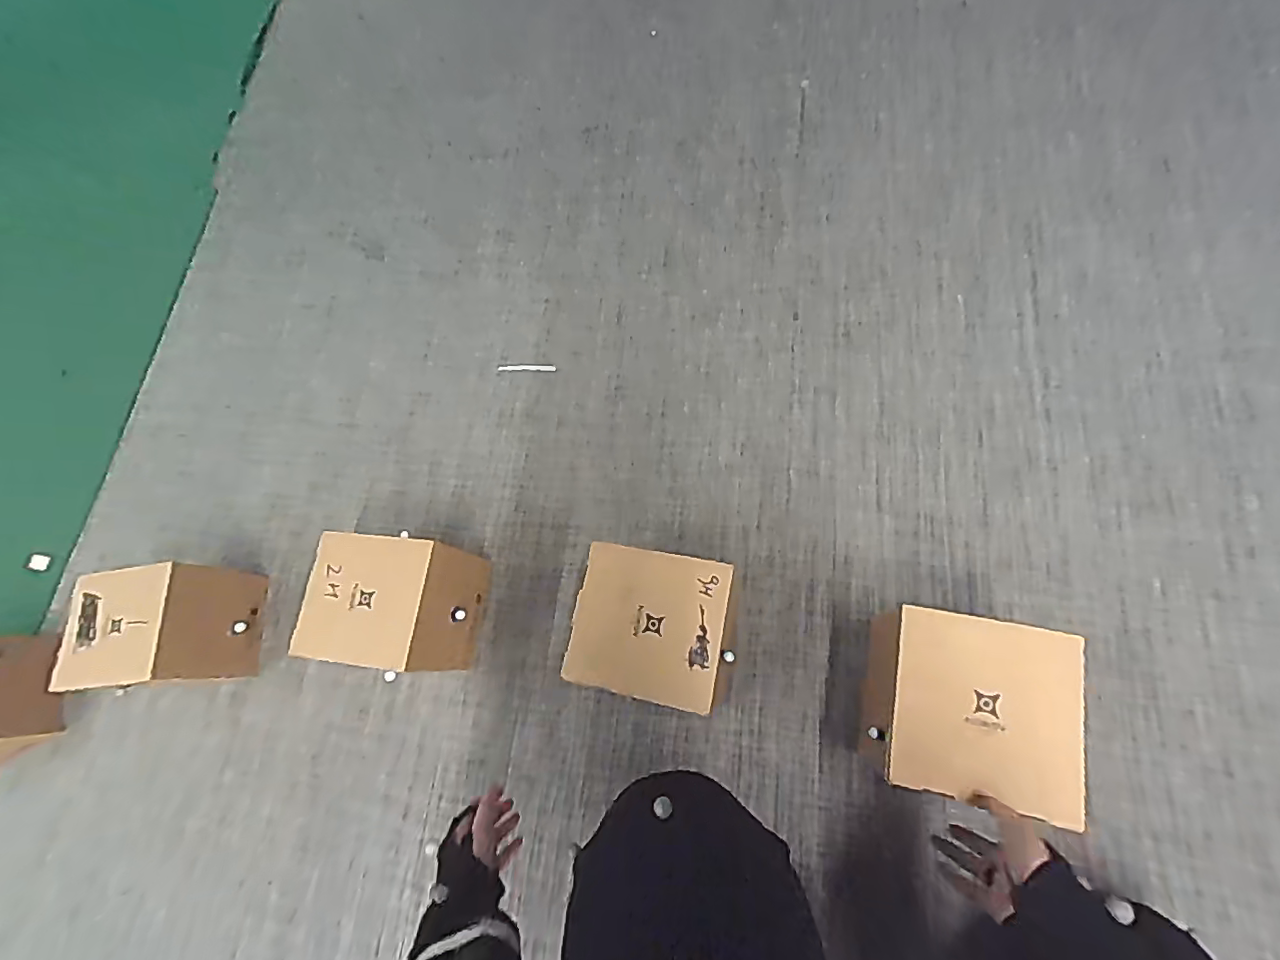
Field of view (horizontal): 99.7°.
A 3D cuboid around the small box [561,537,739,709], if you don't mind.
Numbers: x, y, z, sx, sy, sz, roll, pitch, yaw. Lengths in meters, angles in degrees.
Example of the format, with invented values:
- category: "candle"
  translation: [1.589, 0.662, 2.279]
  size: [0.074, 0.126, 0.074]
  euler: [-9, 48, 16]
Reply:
- category: "small box"
  translation: [0.025, 0.182, 0.694]
  size: [0.179, 0.176, 0.168]
  euler: [8, 75, 16]

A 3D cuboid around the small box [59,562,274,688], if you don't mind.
- category: "small box"
  translation: [-0.728, 0.233, 0.850]
  size: [0.179, 0.176, 0.168]
  euler: [-9, 71, 9]

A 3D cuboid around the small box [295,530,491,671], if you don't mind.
- category: "small box"
  translation: [-0.340, 0.175, 0.780]
  size: [0.179, 0.176, 0.168]
  euler: [3, 72, 14]

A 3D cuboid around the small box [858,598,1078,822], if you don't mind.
- category: "small box"
  translation: [0.349, 0.240, 0.604]
  size: [0.168, 0.176, 0.179]
  euler: [8, 75, 15]
